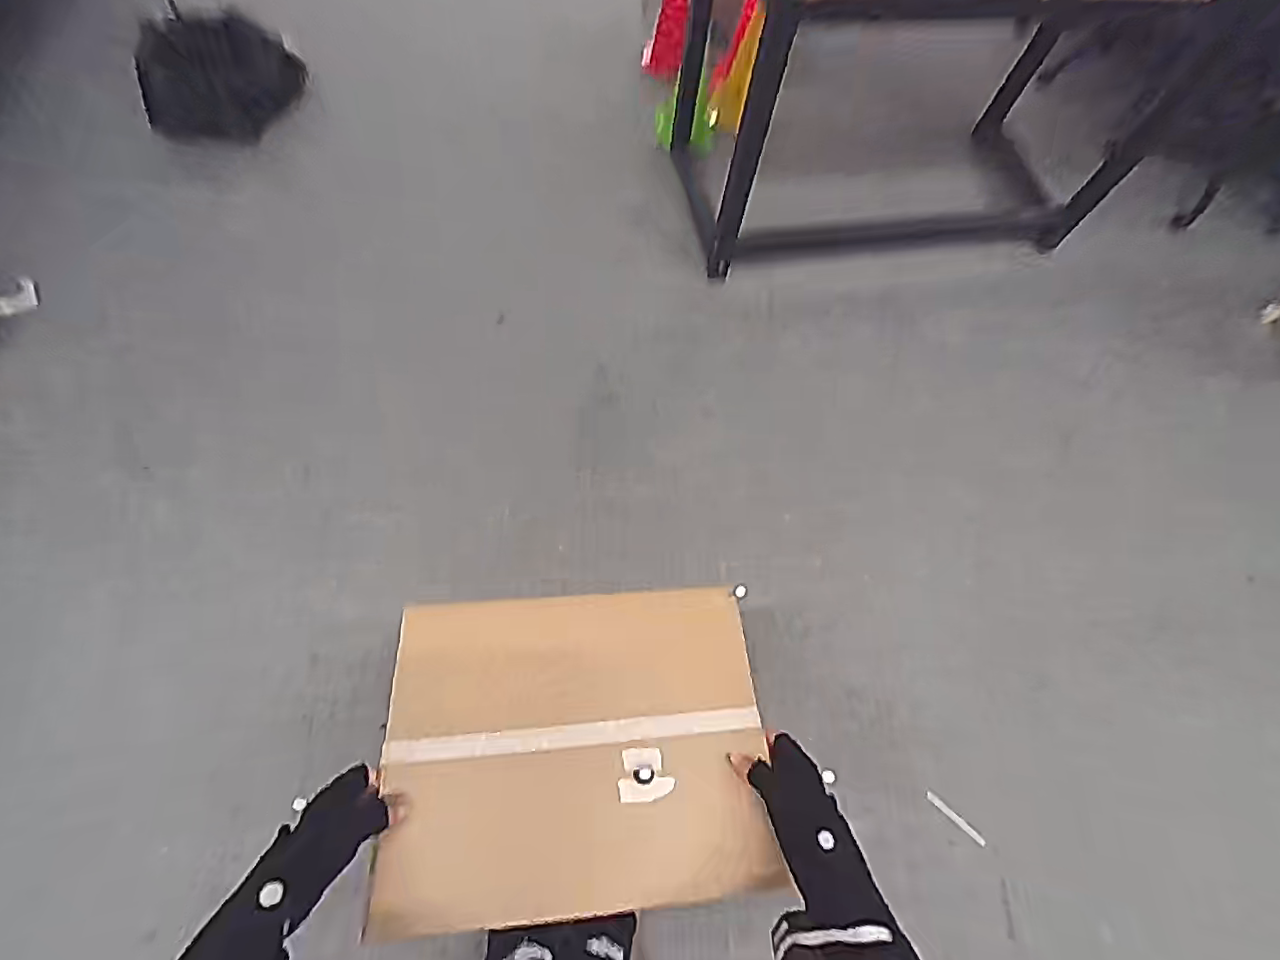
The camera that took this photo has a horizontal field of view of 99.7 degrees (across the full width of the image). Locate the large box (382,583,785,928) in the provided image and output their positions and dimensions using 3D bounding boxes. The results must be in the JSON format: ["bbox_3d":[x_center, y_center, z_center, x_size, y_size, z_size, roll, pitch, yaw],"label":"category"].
[{"bbox_3d":[-0.075,0.351,0.727,0.408,0.320,0.320,-2,60,-7],"label":"large box"}]
